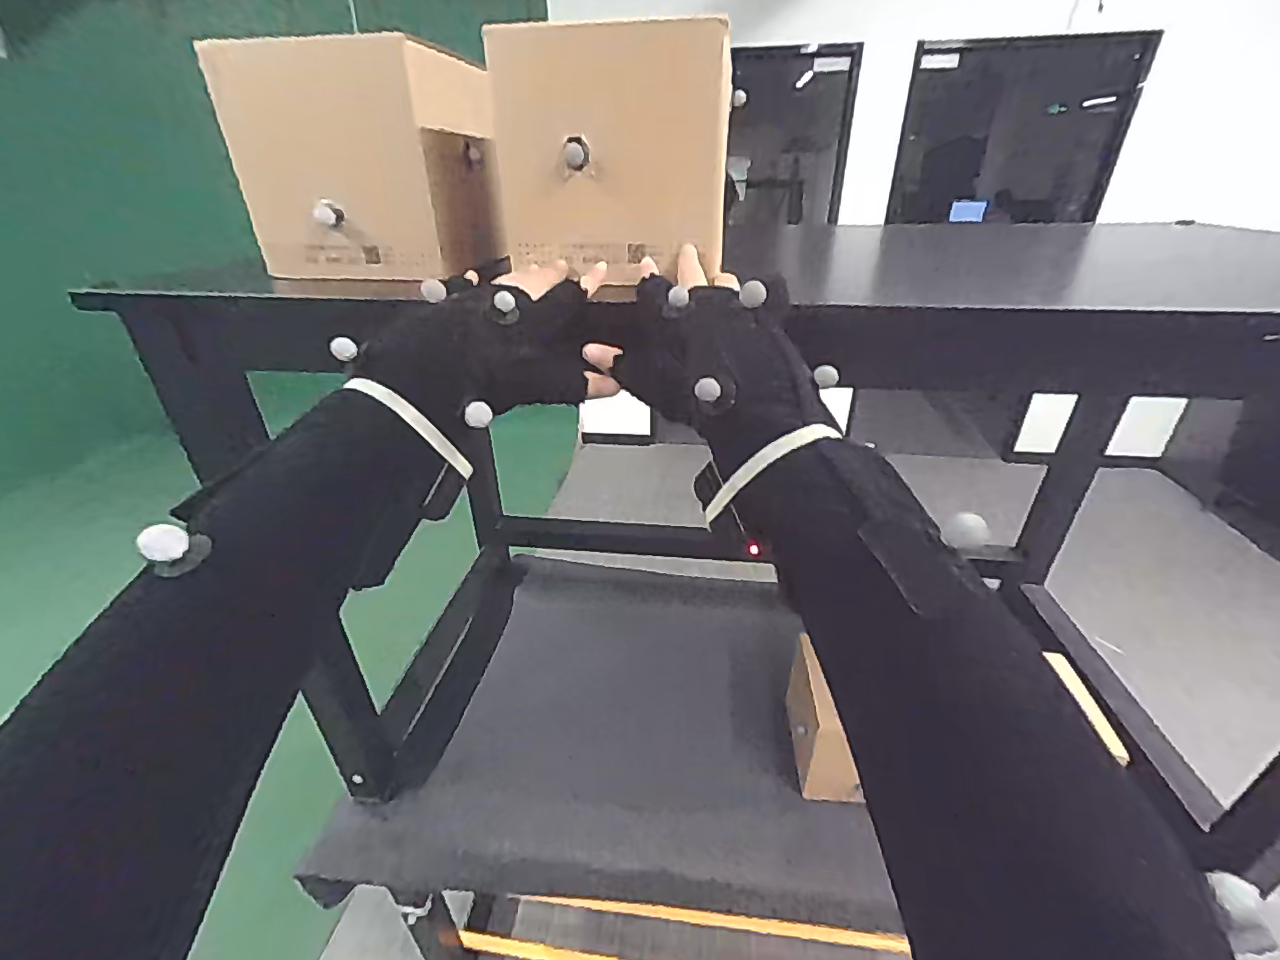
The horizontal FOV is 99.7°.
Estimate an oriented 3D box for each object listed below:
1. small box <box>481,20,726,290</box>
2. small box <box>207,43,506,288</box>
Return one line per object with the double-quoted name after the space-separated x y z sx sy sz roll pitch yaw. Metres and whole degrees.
-0.014 -0.264 0.467 0.168 0.176 0.179 4 29 8 "small box"
-0.235 -0.285 0.506 0.168 0.176 0.179 4 31 8 "small box"
